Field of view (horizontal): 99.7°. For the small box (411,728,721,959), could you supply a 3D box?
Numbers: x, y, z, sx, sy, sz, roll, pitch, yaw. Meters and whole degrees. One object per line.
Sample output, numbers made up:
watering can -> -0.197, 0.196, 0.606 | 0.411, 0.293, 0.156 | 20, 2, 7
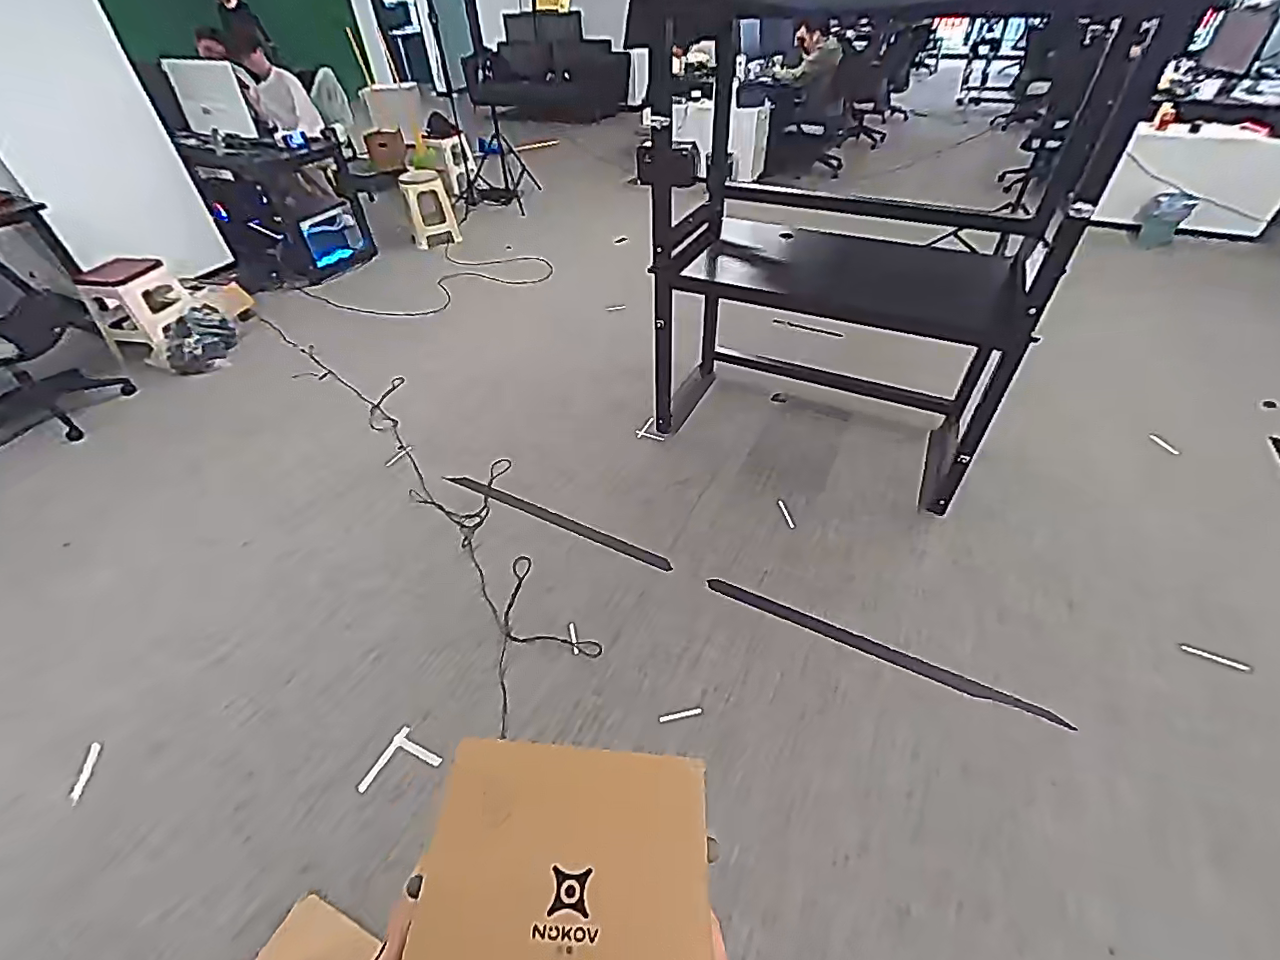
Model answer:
small box -> -0.047, 0.291, 0.357 | 0.168, 0.176, 0.179 | 7, 45, -3
